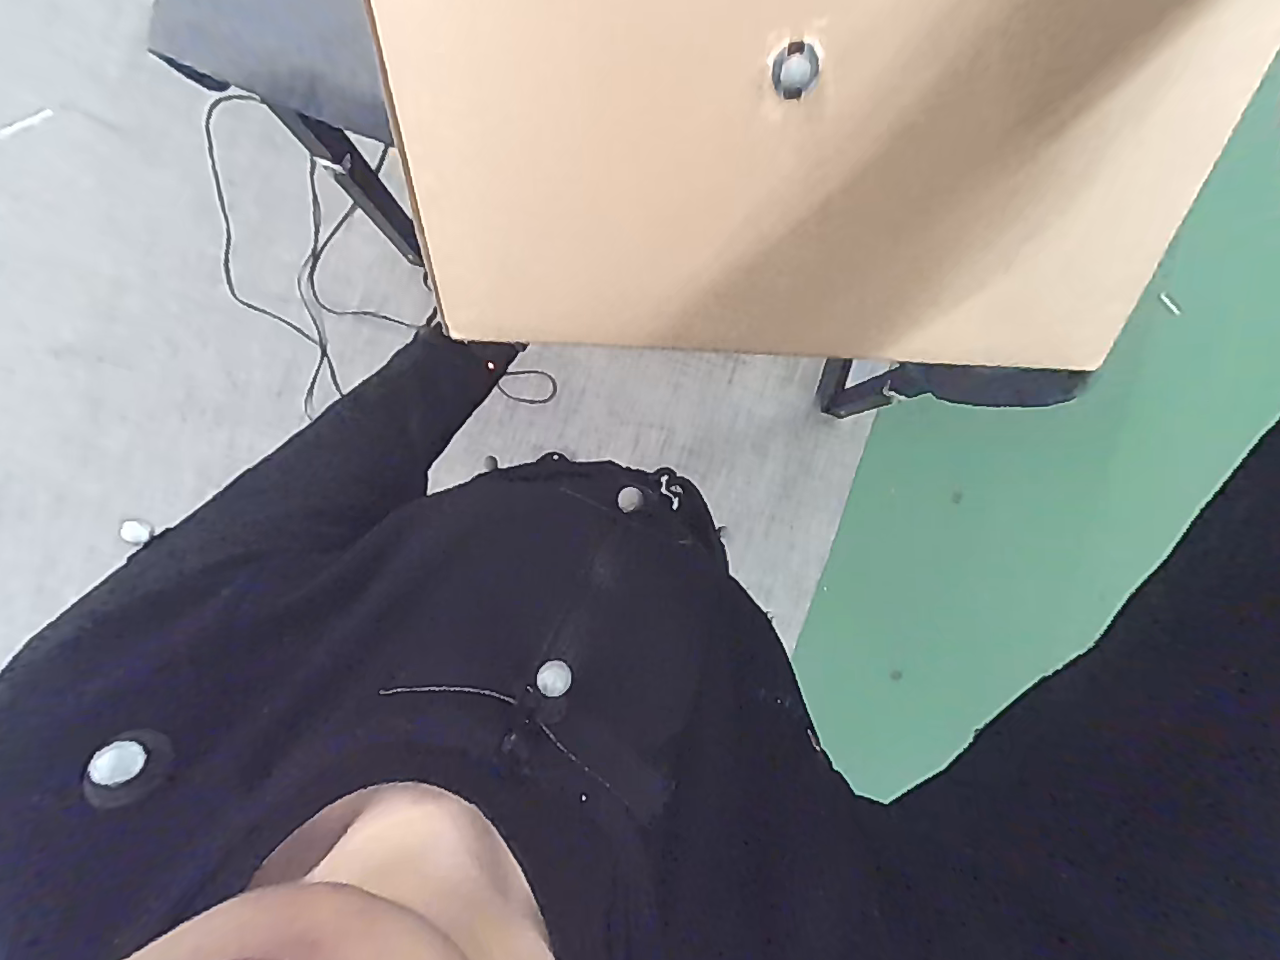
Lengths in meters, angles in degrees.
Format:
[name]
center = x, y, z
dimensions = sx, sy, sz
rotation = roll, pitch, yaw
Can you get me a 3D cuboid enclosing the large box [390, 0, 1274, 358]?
[large box]
center = 0.093, -0.293, 0.375
dimensions = 0.408, 0.320, 0.320
rotation = 2, 128, 6
